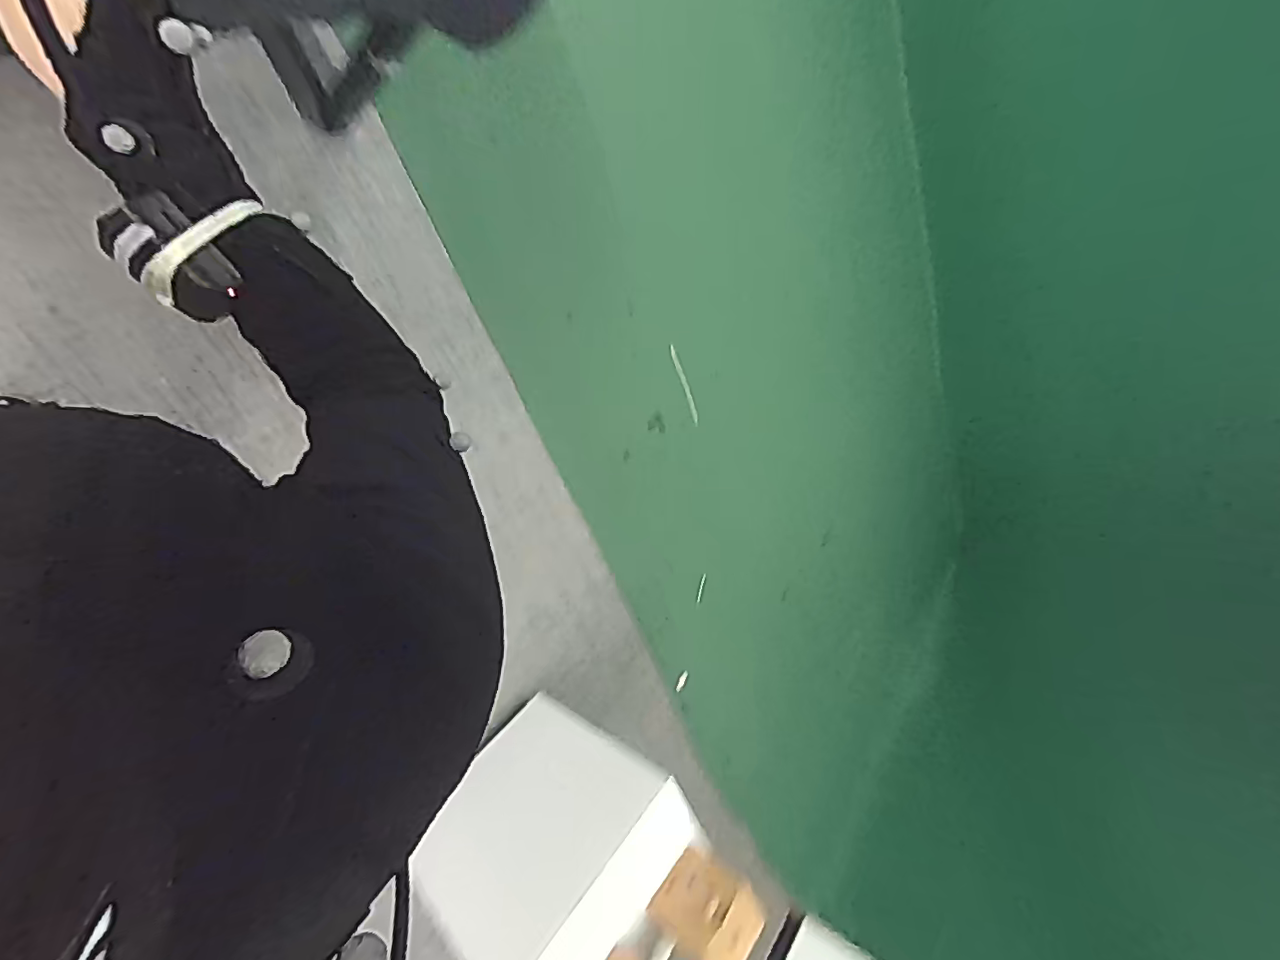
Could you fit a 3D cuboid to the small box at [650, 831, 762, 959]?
[{"bbox_3d":[0.153,0.968,1.258,0.168,0.176,0.179,-40,119,-32],"label":"small box"}]
